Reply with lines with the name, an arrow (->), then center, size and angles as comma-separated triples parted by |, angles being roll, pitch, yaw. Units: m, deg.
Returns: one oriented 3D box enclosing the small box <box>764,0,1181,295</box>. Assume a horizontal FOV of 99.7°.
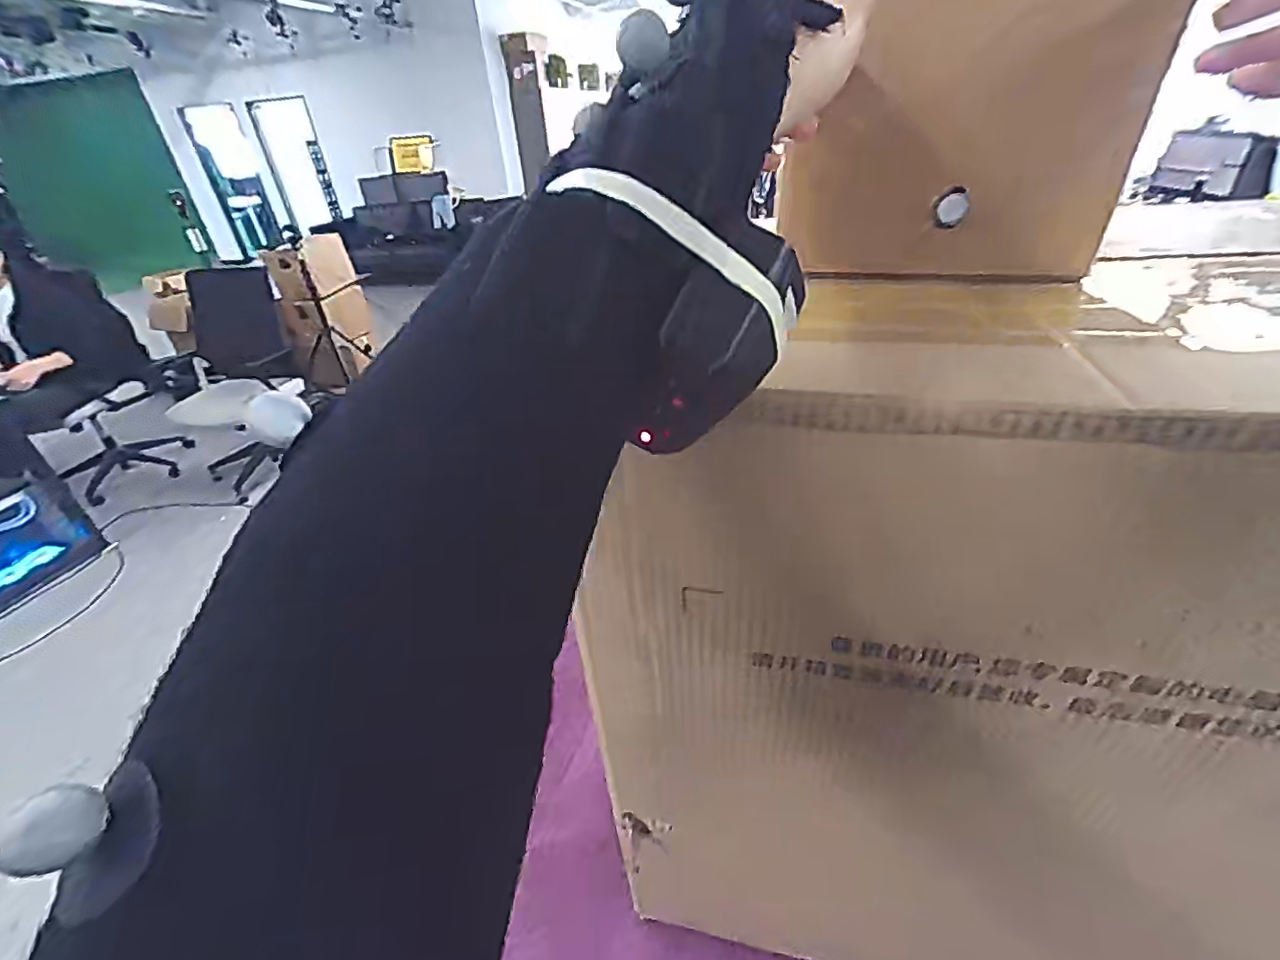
small box -> 0.181, -0.227, 0.345 | 0.179, 0.176, 0.168 | 7, 36, 16
